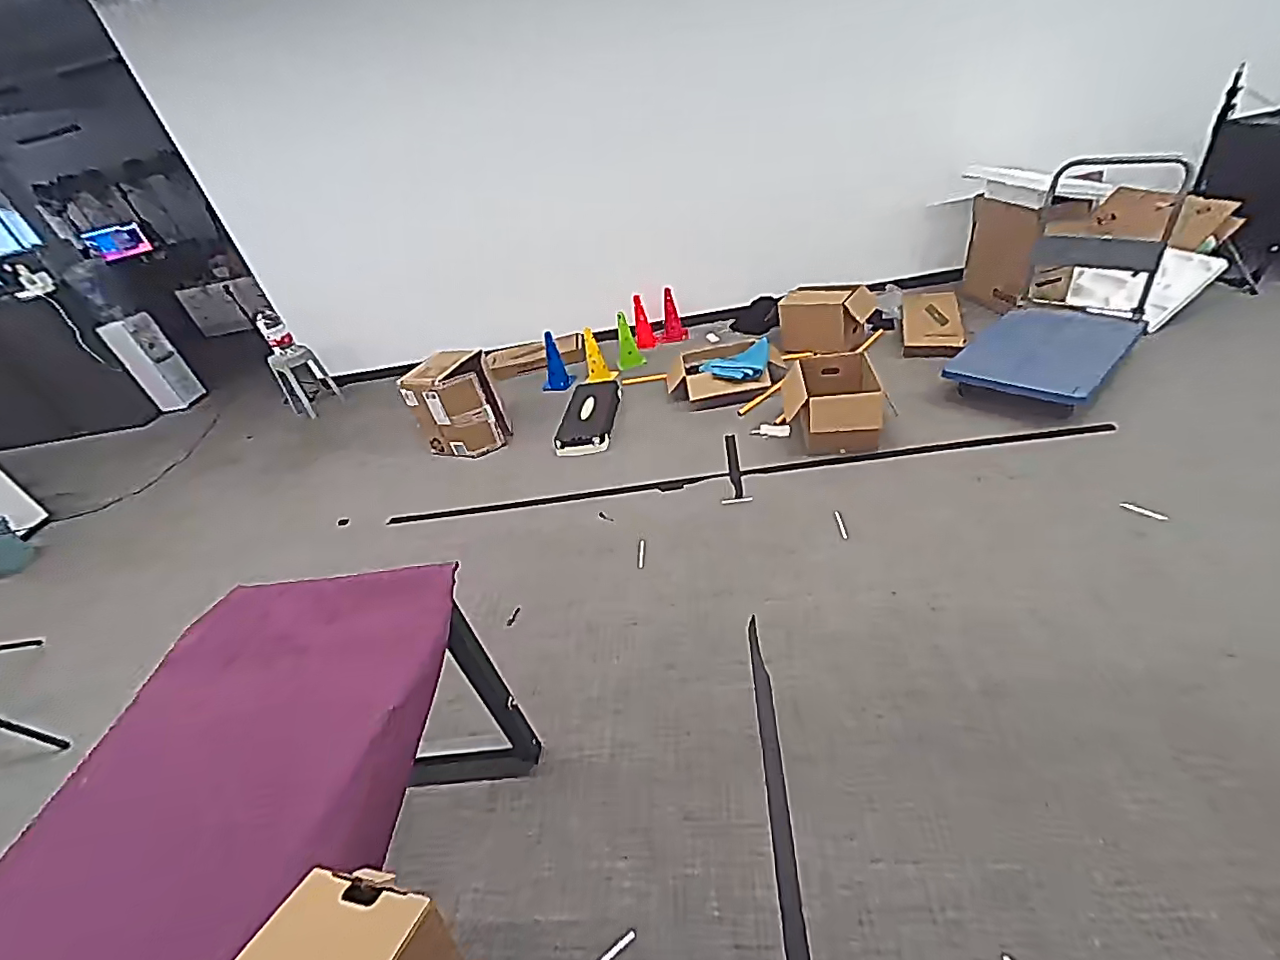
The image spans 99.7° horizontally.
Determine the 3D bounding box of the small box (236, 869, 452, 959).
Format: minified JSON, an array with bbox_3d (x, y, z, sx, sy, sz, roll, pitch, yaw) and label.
[{"bbox_3d":[-0.281,0.512,0.493,0.168,0.176,0.179,-6,19,23],"label":"small box"}]
